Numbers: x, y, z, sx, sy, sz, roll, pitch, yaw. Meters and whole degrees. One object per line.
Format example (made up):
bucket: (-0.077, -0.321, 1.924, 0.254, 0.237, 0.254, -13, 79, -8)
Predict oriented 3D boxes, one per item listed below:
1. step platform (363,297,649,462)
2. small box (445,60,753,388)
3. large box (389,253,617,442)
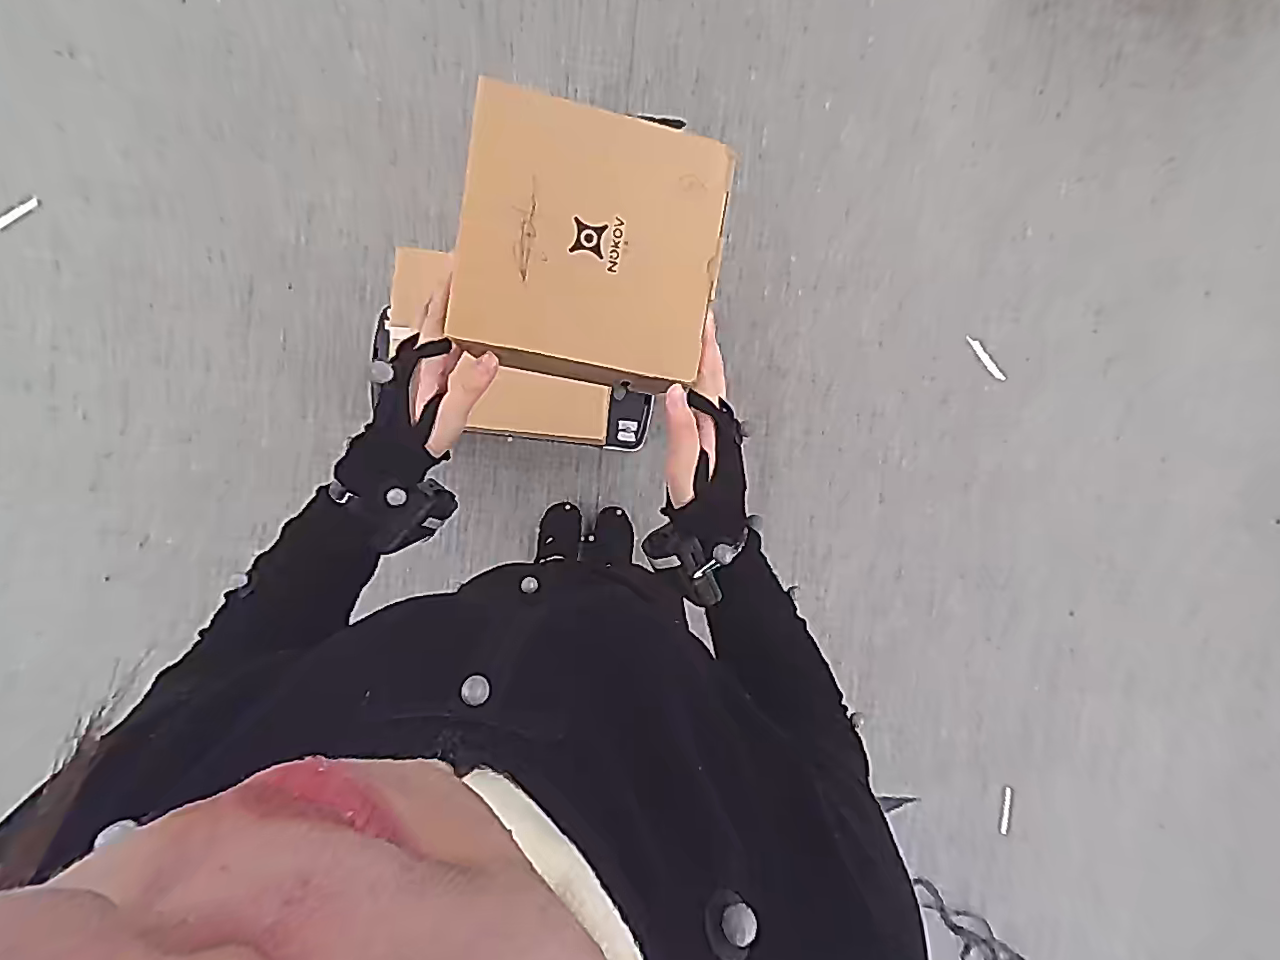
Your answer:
step platform: (-0.319, -0.243, 1.366, 0.684, 0.204, 0.286, 11, 91, -3)
small box: (-0.036, -0.169, 0.424, 0.179, 0.176, 0.168, 9, 95, -9)
large box: (-0.250, -0.248, 1.130, 0.408, 0.320, 0.320, 5, 91, -3)
